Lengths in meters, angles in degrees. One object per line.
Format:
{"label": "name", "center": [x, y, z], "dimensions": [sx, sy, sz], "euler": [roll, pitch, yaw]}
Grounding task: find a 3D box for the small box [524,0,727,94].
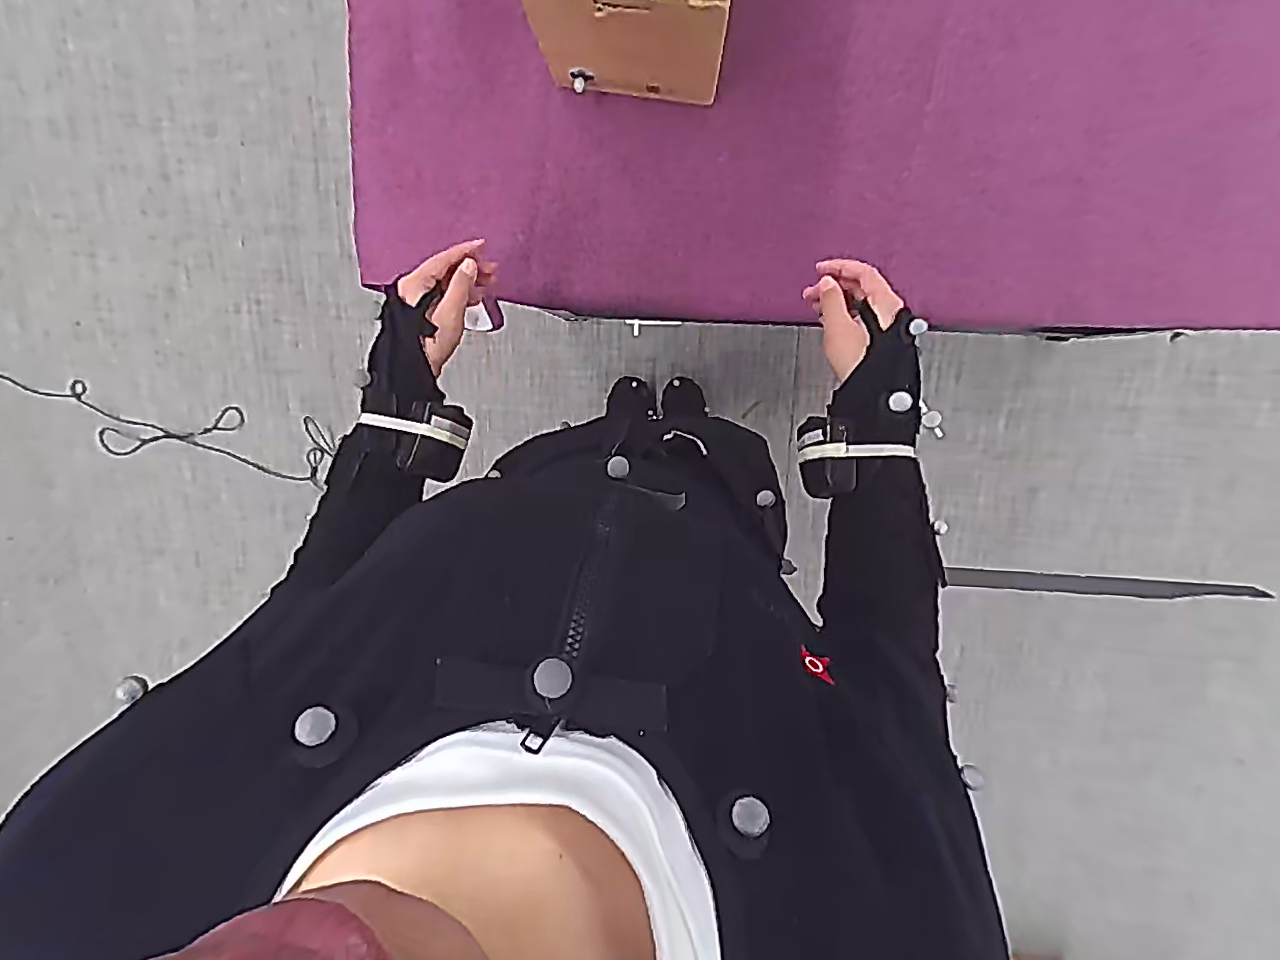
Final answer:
{"label": "small box", "center": [-0.001, -0.464, 0.457], "dimensions": [0.168, 0.176, 0.179], "euler": [8, 102, 1]}
